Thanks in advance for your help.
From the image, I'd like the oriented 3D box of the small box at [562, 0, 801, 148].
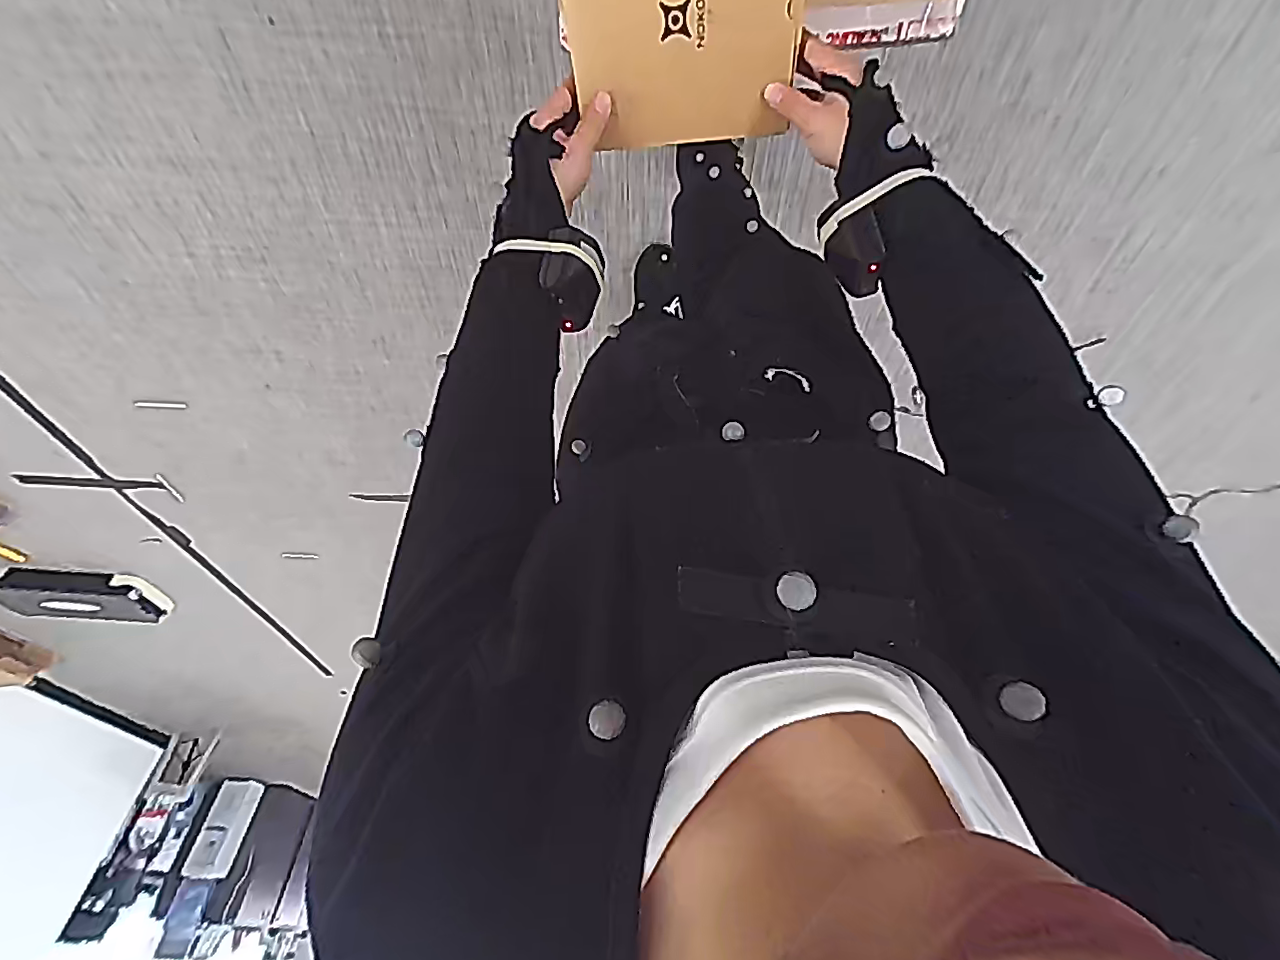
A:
[{"bbox_3d":[0.033,-0.402,0.449,0.179,0.176,0.168,-3,140,5],"label":"small box"}]
